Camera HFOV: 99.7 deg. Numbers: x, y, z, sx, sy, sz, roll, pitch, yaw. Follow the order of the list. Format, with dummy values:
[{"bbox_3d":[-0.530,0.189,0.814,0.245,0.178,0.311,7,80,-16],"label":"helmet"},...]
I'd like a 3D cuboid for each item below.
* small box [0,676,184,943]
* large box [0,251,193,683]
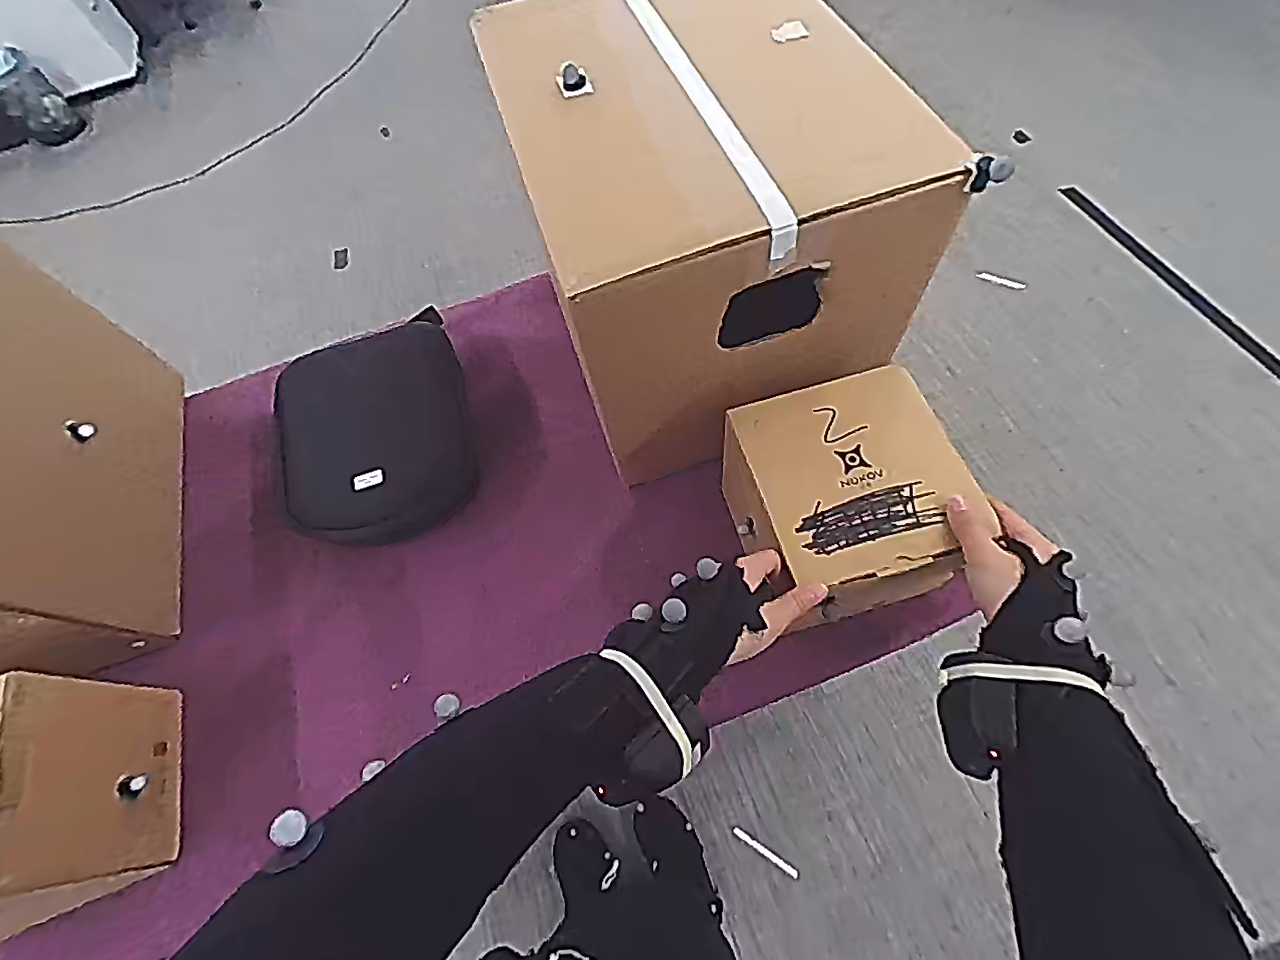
[{"bbox_3d":[-0.557,0.296,0.473,0.179,0.176,0.168,-23,62,-6],"label":"small box"},{"bbox_3d":[-0.737,0.010,0.556,0.320,0.320,0.408,-21,66,-6],"label":"large box"}]
